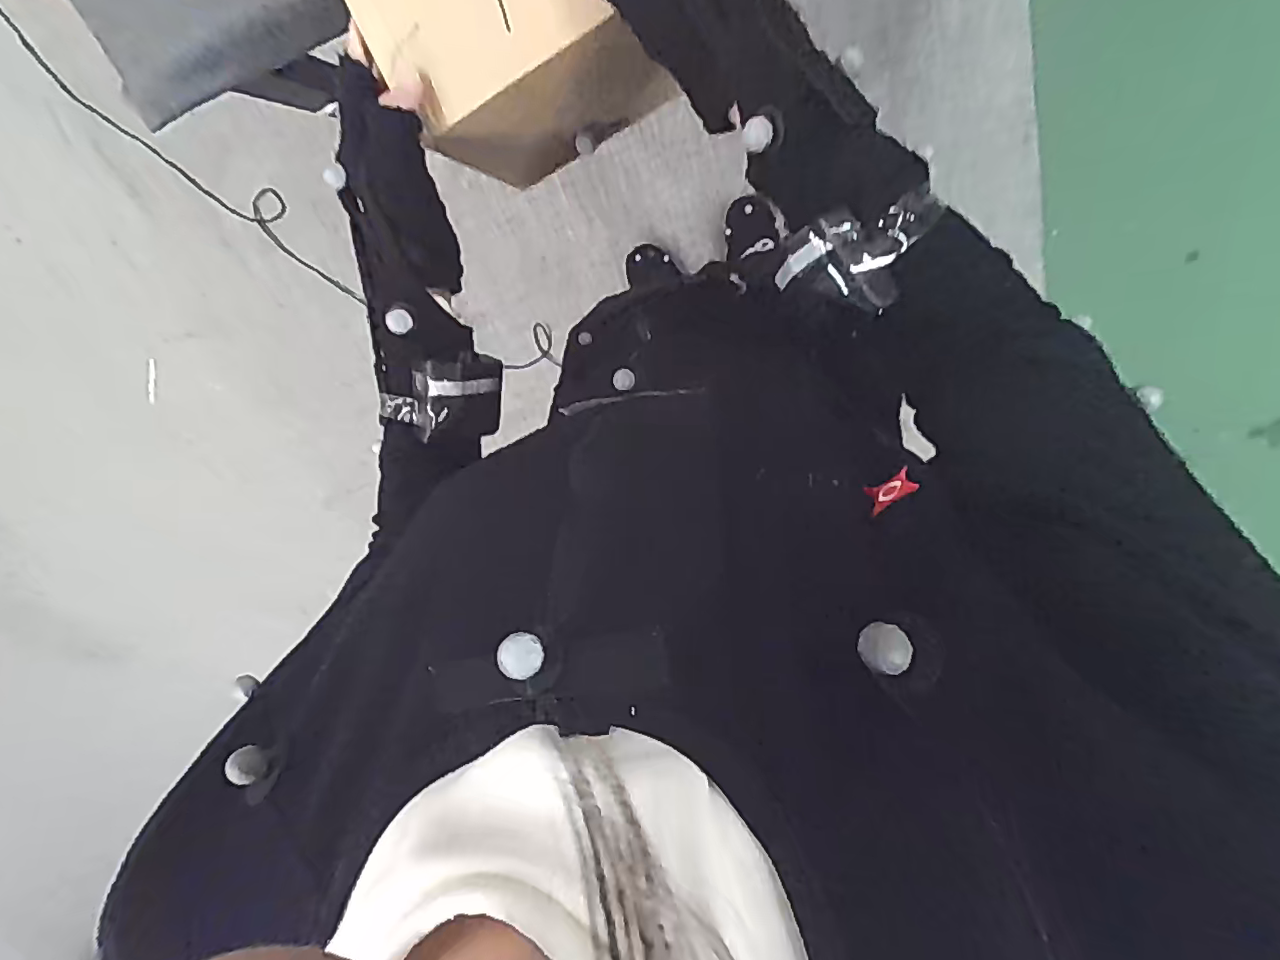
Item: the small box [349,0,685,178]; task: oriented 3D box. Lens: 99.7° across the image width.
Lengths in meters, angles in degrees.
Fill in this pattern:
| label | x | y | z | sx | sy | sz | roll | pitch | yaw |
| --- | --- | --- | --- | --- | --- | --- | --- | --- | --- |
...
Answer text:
| label | x | y | z | sx | sy | sz | roll | pitch | yaw |
| --- | --- | --- | --- | --- | --- | --- | --- | --- | --- |
| small box | -0.081 | -0.333 | 0.353 | 0.168 | 0.176 | 0.179 | -20 | 105 | 17 |
